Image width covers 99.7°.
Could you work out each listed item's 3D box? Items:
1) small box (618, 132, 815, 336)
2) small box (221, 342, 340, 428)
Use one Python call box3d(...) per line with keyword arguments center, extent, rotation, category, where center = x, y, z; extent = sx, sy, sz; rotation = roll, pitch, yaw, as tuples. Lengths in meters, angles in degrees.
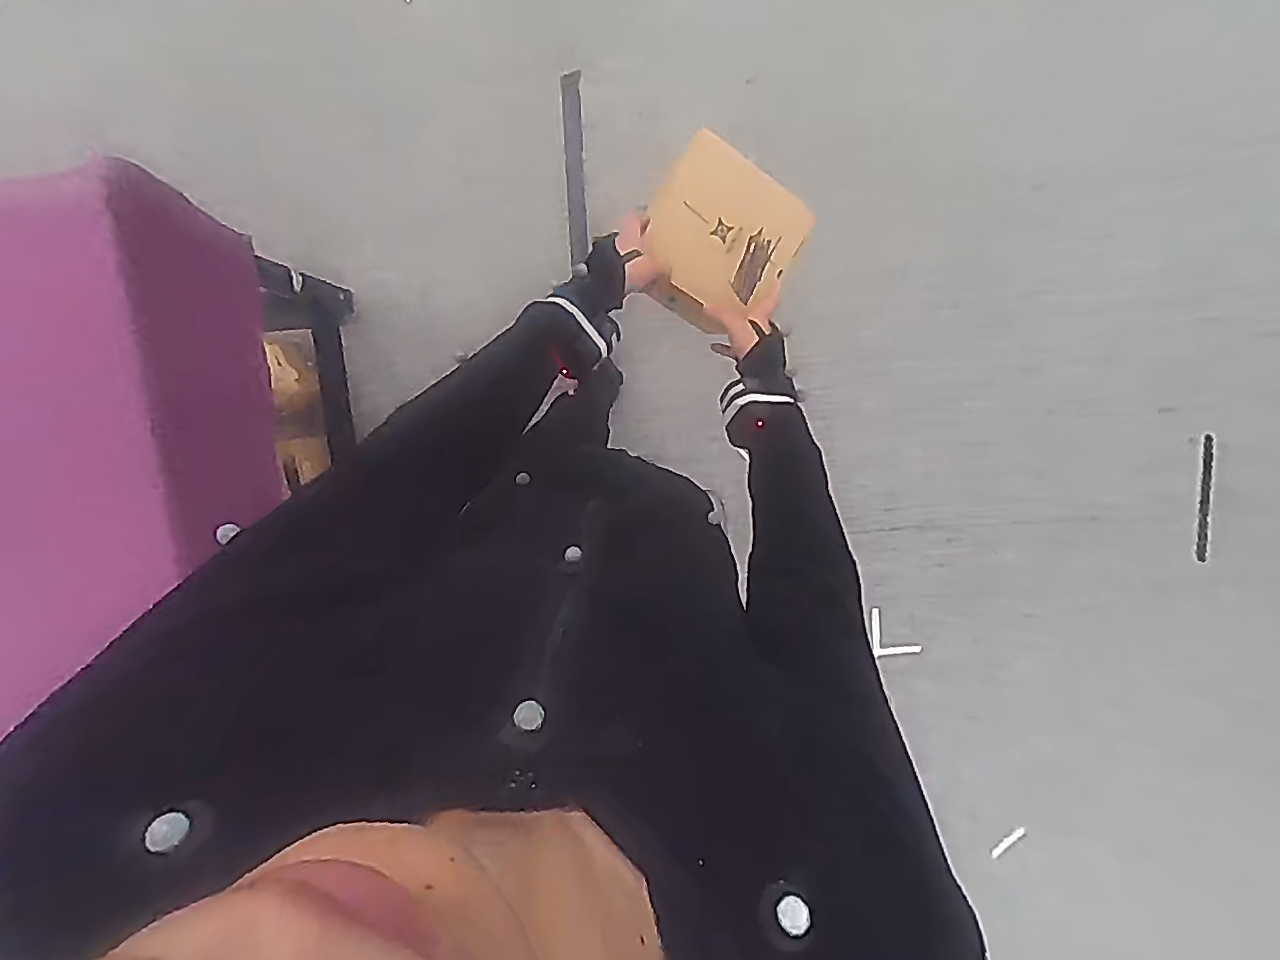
box3d(center=(0.089, -0.311, 0.724), extent=(0.179, 0.176, 0.168), rotation=(28, 98, -16), category="small box")
box3d(center=(-0.984, -0.259, 1.496), extent=(0.179, 0.176, 0.168), rotation=(-32, 97, 5), category="small box")
